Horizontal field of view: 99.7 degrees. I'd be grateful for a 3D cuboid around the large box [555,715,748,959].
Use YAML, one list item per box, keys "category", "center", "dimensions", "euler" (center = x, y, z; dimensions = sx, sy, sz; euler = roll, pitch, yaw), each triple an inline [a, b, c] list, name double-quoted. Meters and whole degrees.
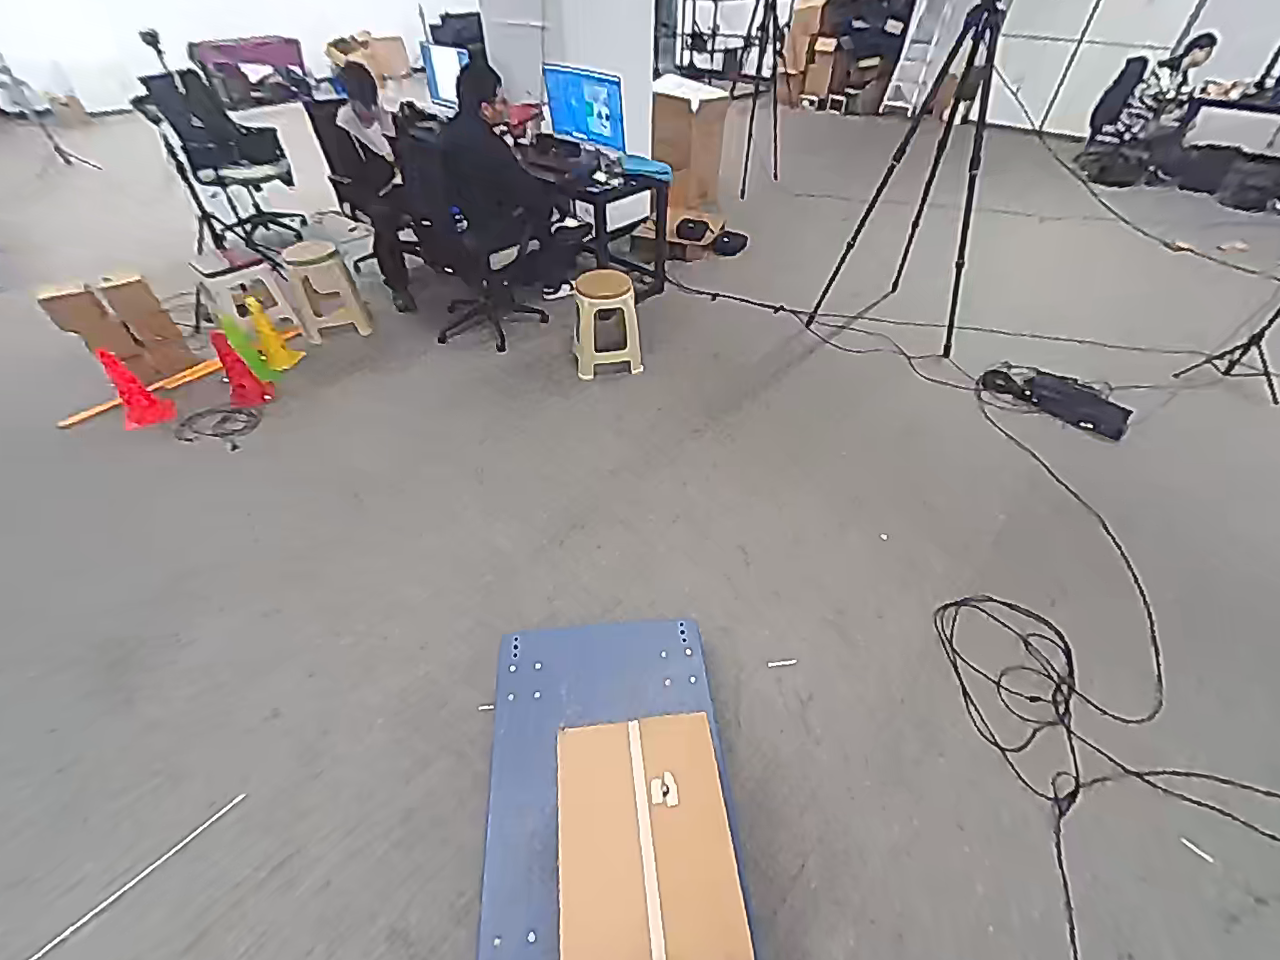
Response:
- category: "large box"
  center: [0.001, 0.758, 1.110]
  dimensions: [0.320, 0.320, 0.408]
  euler: [-4, 48, -6]
